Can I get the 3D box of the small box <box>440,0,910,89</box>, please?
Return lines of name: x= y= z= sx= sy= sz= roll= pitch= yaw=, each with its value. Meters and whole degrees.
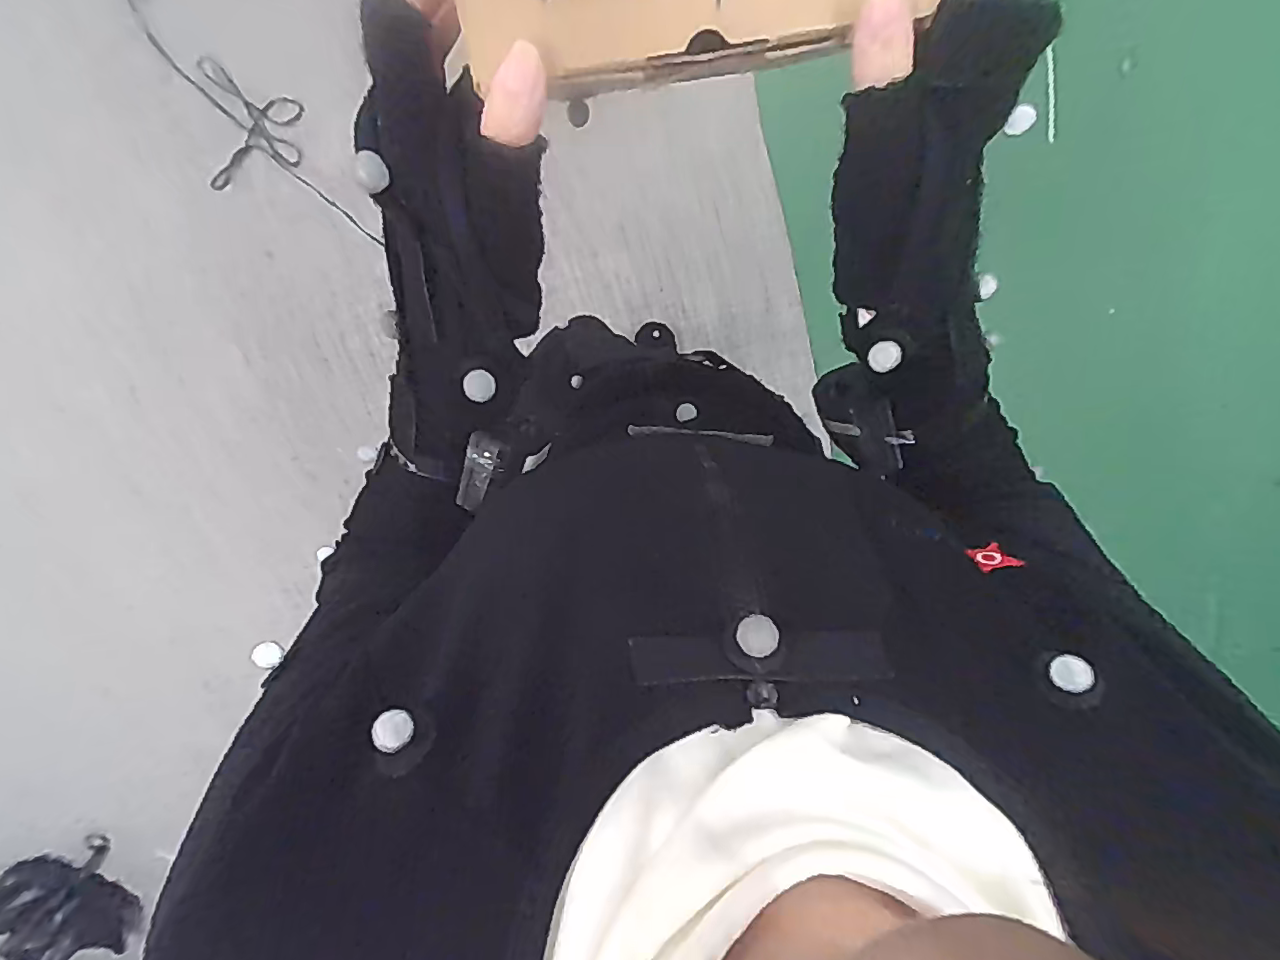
small box: x=0.002 y=-0.268 z=0.210 sx=0.168 sy=0.176 sz=0.179 roll=-8 pitch=123 yaw=1
